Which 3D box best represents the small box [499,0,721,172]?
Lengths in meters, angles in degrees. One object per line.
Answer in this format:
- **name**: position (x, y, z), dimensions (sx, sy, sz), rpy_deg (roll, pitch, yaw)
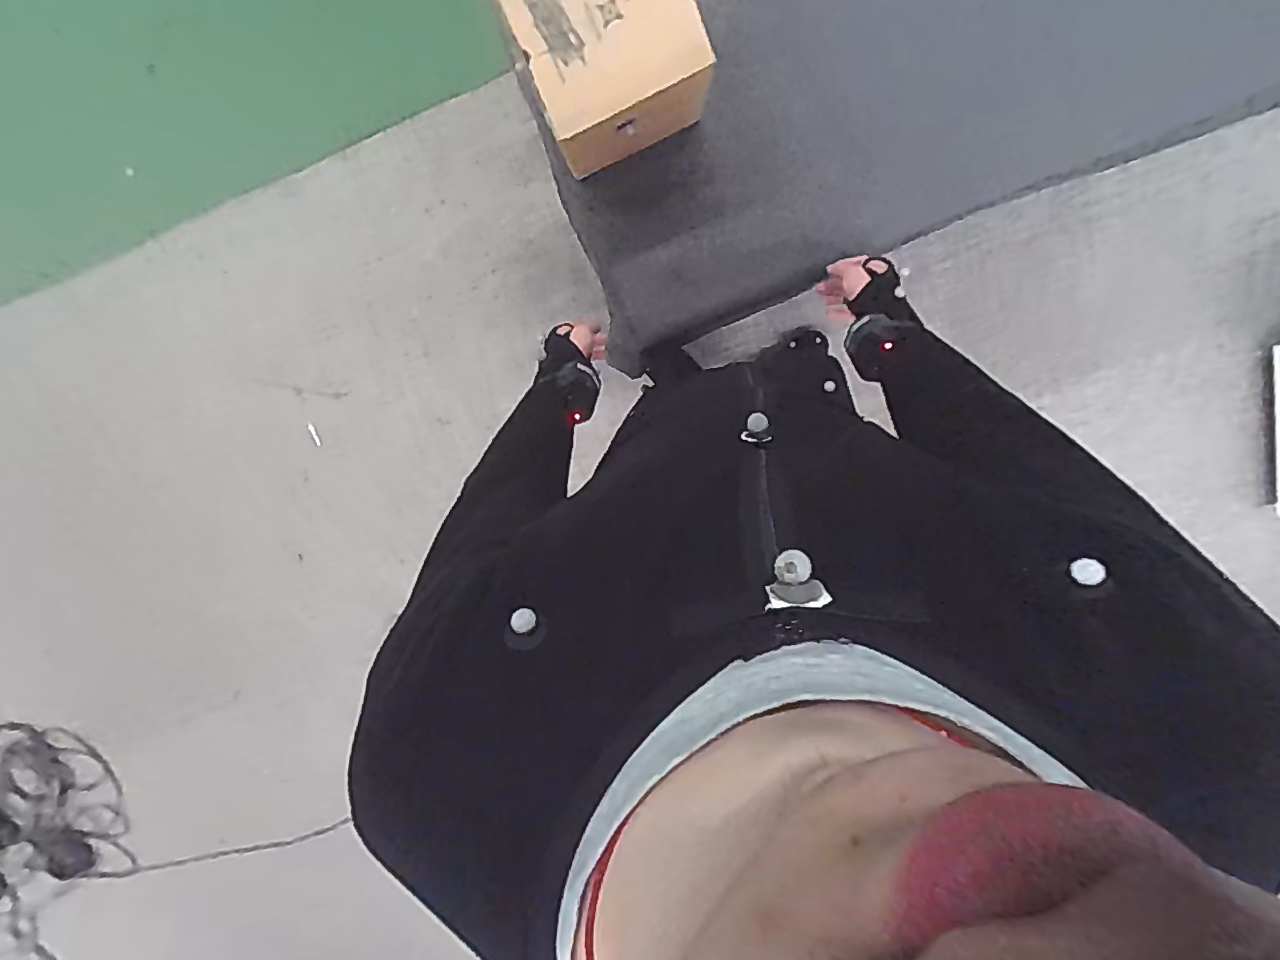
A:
- **small box**: position (-0.035, -0.463, 0.576), dimensions (0.179, 0.176, 0.168), rpy_deg (-25, 106, 4)
